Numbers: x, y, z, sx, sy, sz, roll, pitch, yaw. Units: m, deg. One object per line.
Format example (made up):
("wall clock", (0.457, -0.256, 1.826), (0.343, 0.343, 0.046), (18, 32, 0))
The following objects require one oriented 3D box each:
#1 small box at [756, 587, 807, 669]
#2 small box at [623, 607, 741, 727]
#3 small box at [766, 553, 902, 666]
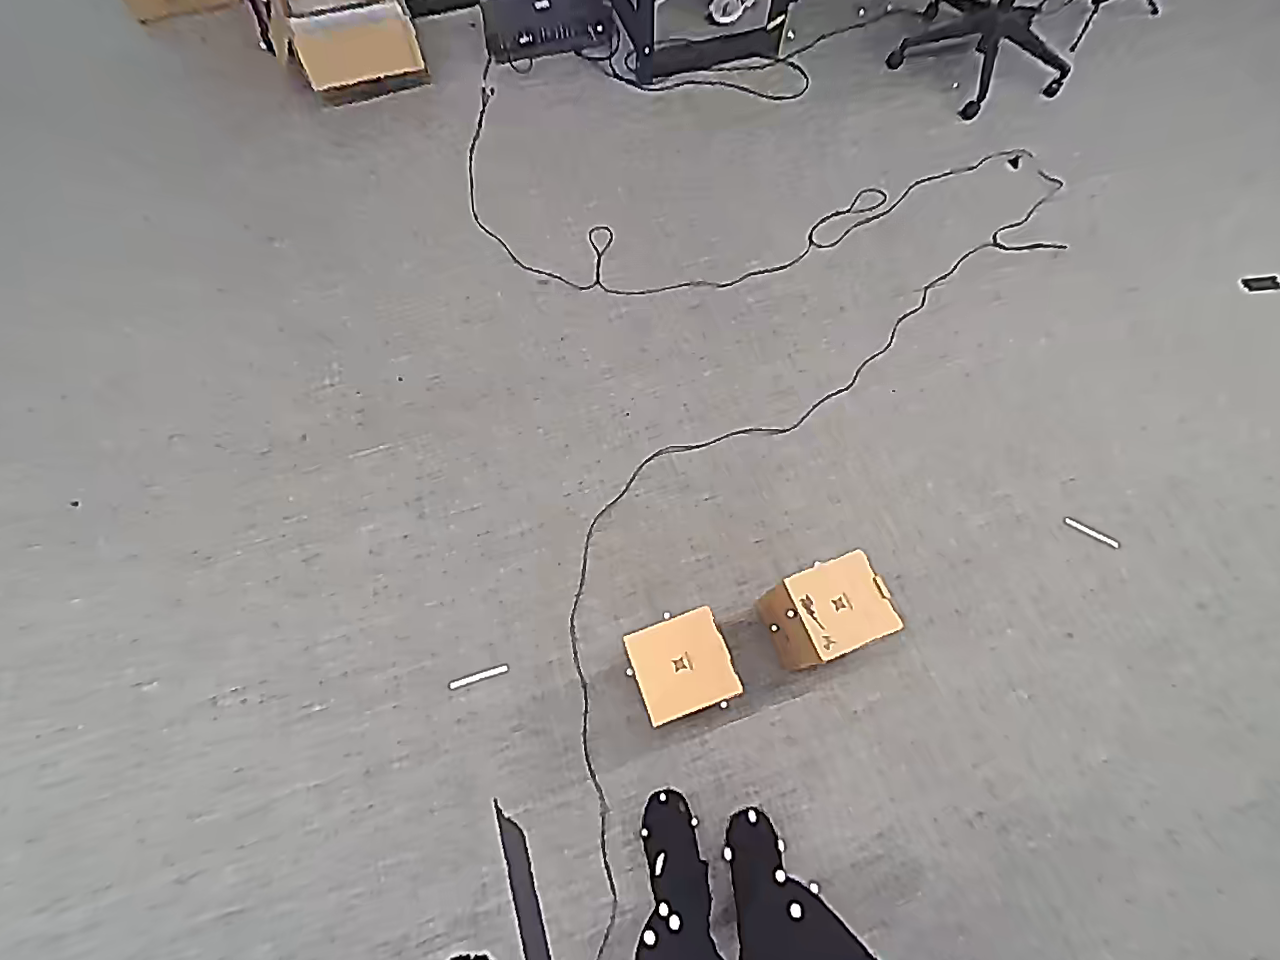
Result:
("small box", (0.388, 0.326, 1.252), (0.168, 0.176, 0.179), (-19, 71, -7))
("small box", (0.077, 0.368, 1.061), (0.179, 0.176, 0.168), (-19, 70, -7))
("small box", (0.382, 0.267, 1.098), (0.179, 0.176, 0.168), (-19, 70, -8))
